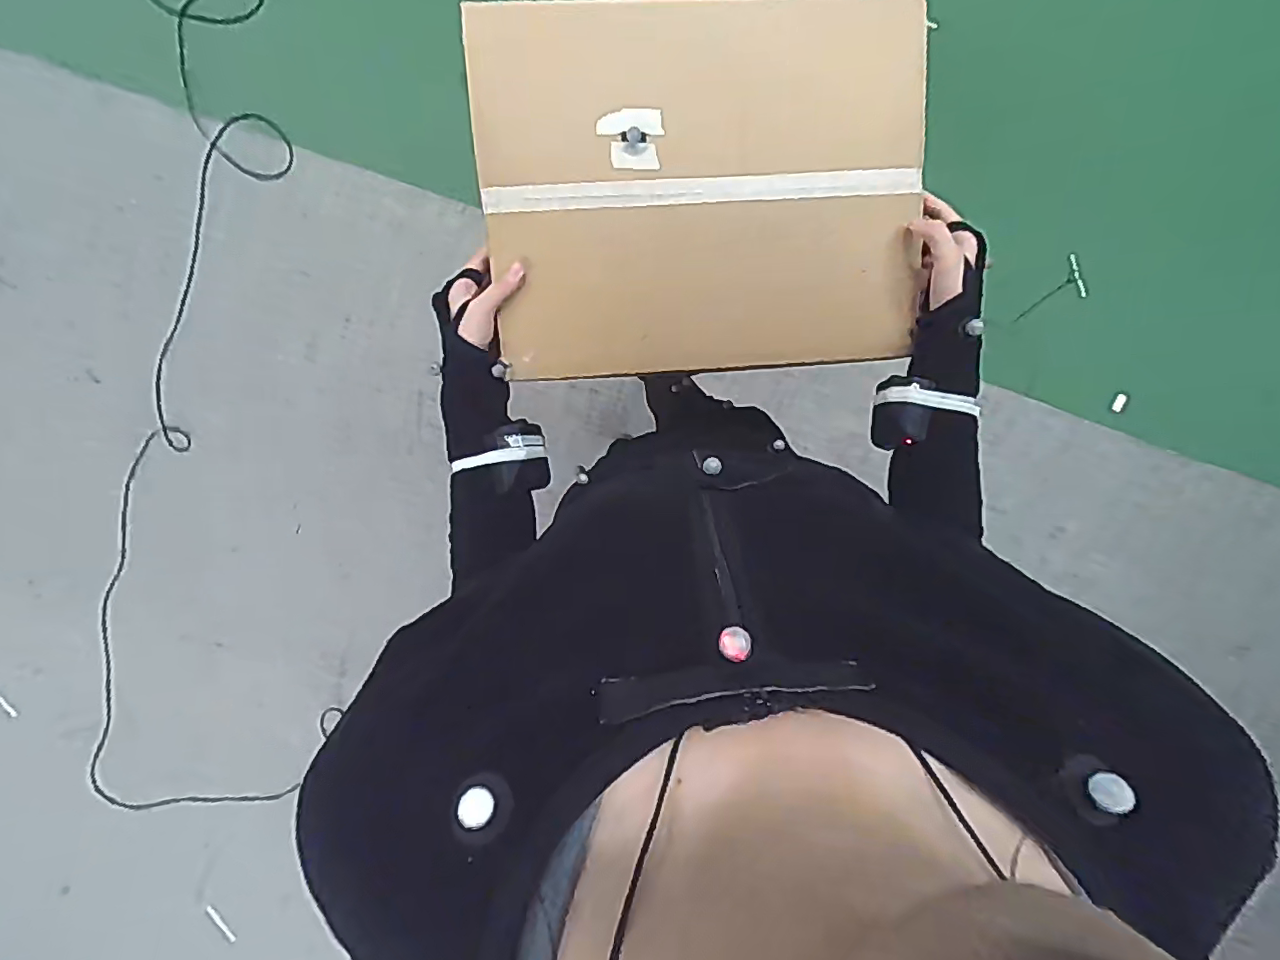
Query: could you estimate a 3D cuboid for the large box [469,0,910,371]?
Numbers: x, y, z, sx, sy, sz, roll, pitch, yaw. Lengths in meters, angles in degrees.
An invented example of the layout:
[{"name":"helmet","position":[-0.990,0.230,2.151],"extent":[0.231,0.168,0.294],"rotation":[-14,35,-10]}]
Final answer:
[{"name":"large box","position":[0.048,-0.301,0.652],"extent":[0.408,0.320,0.320],"rotation":[-4,100,-3]}]
